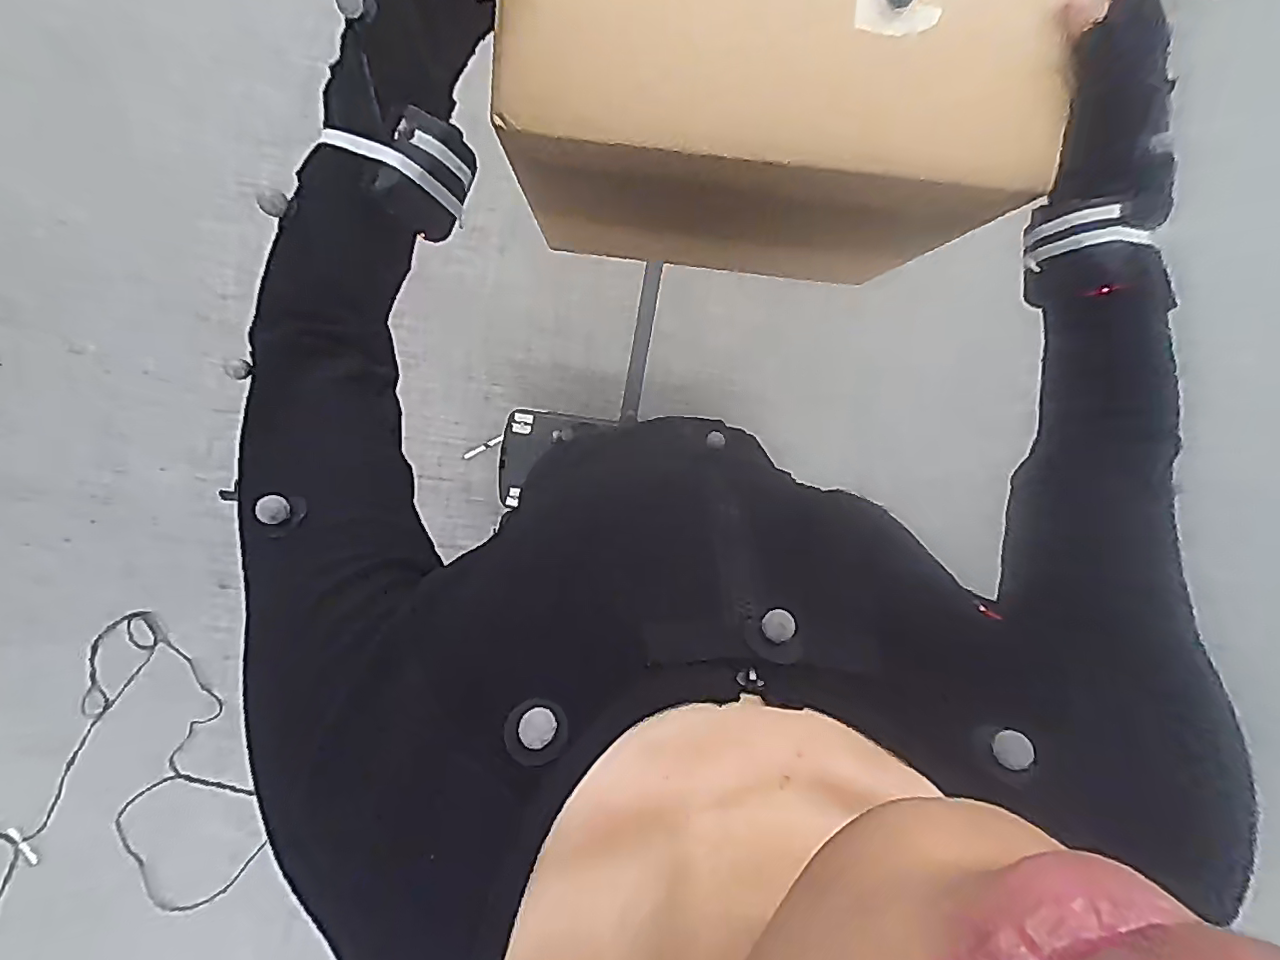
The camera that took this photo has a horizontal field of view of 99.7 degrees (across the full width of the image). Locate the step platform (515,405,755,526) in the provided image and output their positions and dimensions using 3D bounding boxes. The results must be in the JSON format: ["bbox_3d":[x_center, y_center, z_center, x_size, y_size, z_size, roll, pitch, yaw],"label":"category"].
[{"bbox_3d":[-0.015,-0.042,1.575,0.684,0.204,0.286,6,94,-4],"label":"step platform"}]

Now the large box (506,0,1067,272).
[{"bbox_3d":[0.103,-0.409,0.520,0.408,0.320,0.320,4,99,-4],"label":"large box"}]
